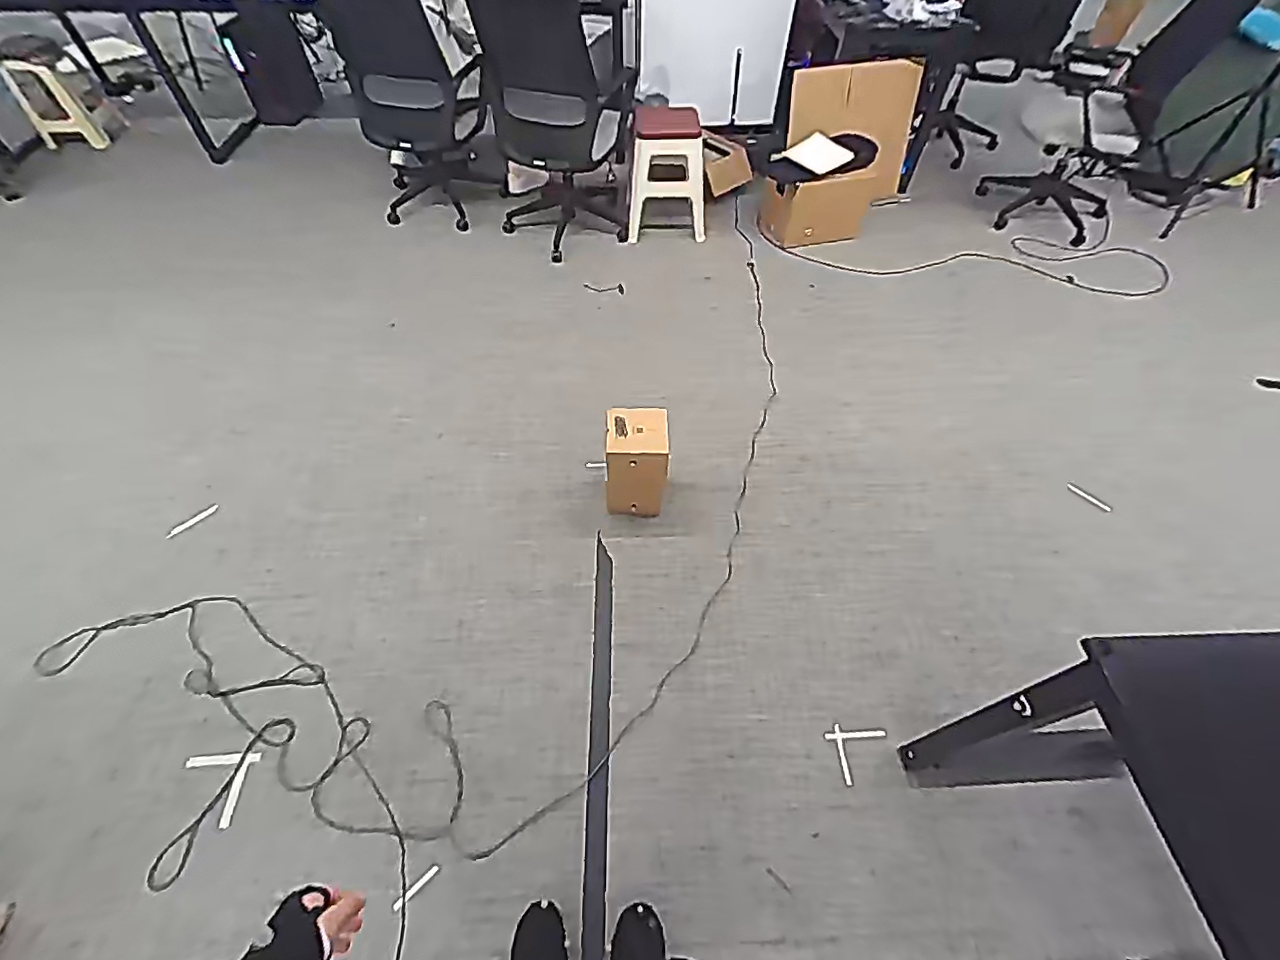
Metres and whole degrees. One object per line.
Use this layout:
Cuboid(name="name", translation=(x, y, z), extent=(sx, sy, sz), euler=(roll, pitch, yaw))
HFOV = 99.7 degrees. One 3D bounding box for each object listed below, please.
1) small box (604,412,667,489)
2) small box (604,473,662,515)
Cuboid(name="small box", translation=(-0.011, -0.085, 1.591), extent=(0.179, 0.176, 0.168), euler=(0, 54, -1))
Cuboid(name="small box", translation=(-0.018, 0.000, 1.735), extent=(0.179, 0.176, 0.168), euler=(5, 54, 2))
